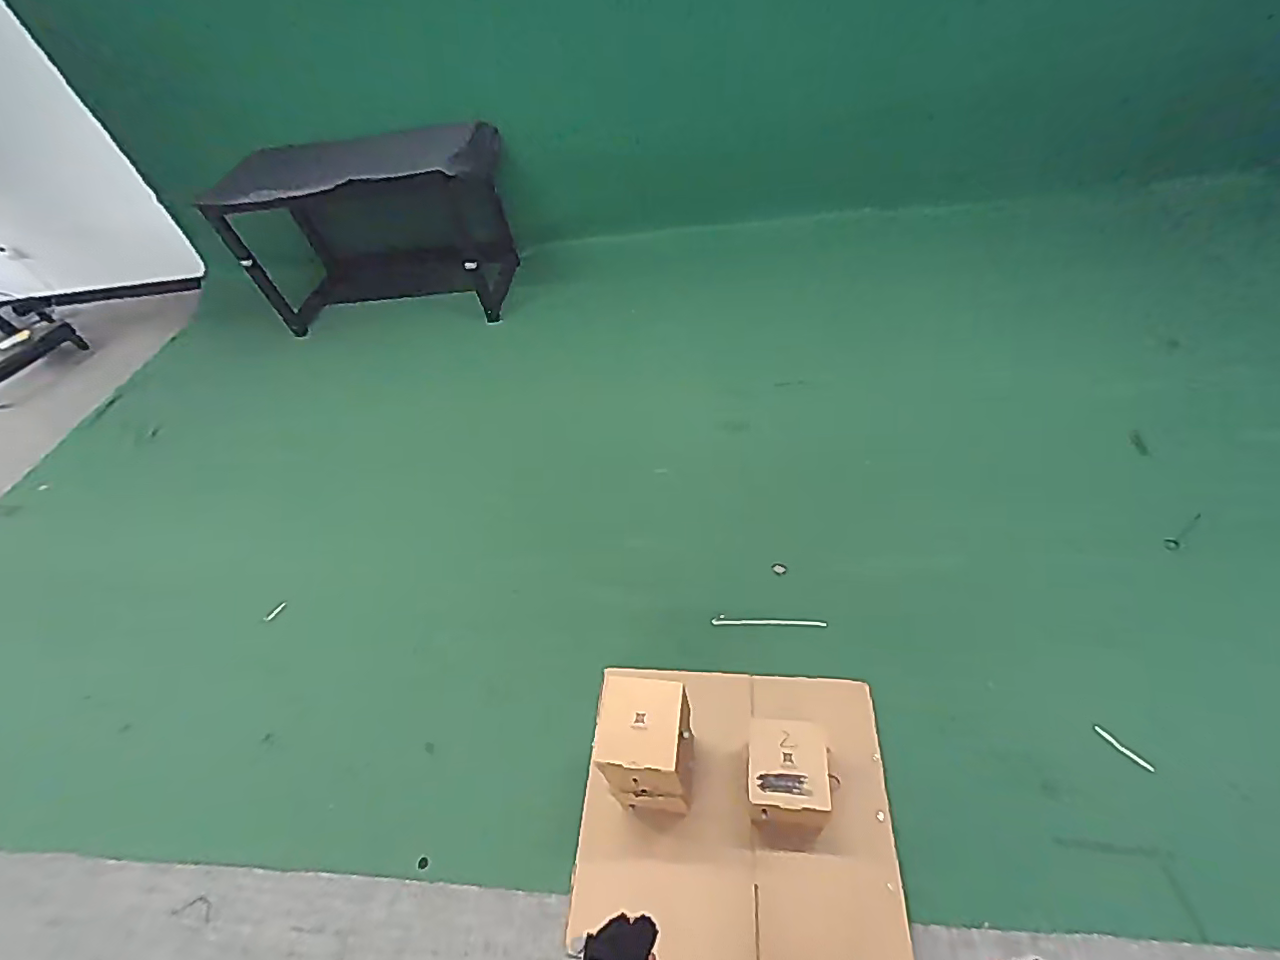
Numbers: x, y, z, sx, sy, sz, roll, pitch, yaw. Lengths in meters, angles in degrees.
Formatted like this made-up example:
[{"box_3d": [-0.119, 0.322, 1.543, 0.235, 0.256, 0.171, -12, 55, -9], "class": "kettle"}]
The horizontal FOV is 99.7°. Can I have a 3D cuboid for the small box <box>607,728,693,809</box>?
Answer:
[{"box_3d": [0.031, 0.650, 1.264, 0.168, 0.176, 0.179, 0, 48, 12], "class": "small box"}]

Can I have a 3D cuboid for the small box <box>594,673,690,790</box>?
[{"box_3d": [0.013, 0.534, 1.151, 0.168, 0.176, 0.179, 1, 50, 12], "class": "small box"}]
